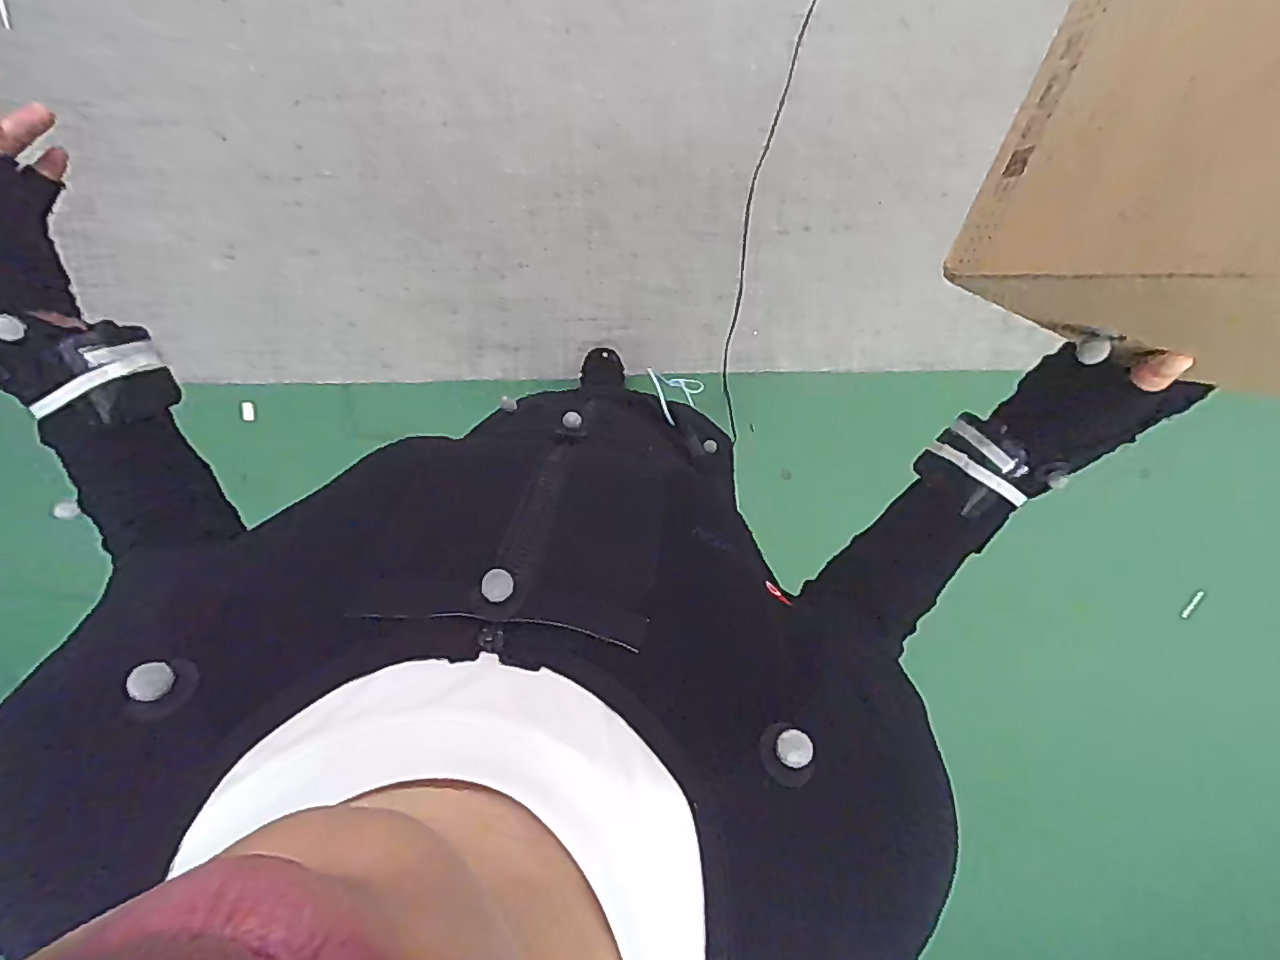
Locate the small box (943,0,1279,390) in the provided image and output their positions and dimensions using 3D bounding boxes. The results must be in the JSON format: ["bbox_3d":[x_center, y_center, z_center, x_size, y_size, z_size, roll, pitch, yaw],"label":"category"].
[{"bbox_3d":[0.293,-0.144,0.247,0.179,0.176,0.168,16,106,-16],"label":"small box"}]
